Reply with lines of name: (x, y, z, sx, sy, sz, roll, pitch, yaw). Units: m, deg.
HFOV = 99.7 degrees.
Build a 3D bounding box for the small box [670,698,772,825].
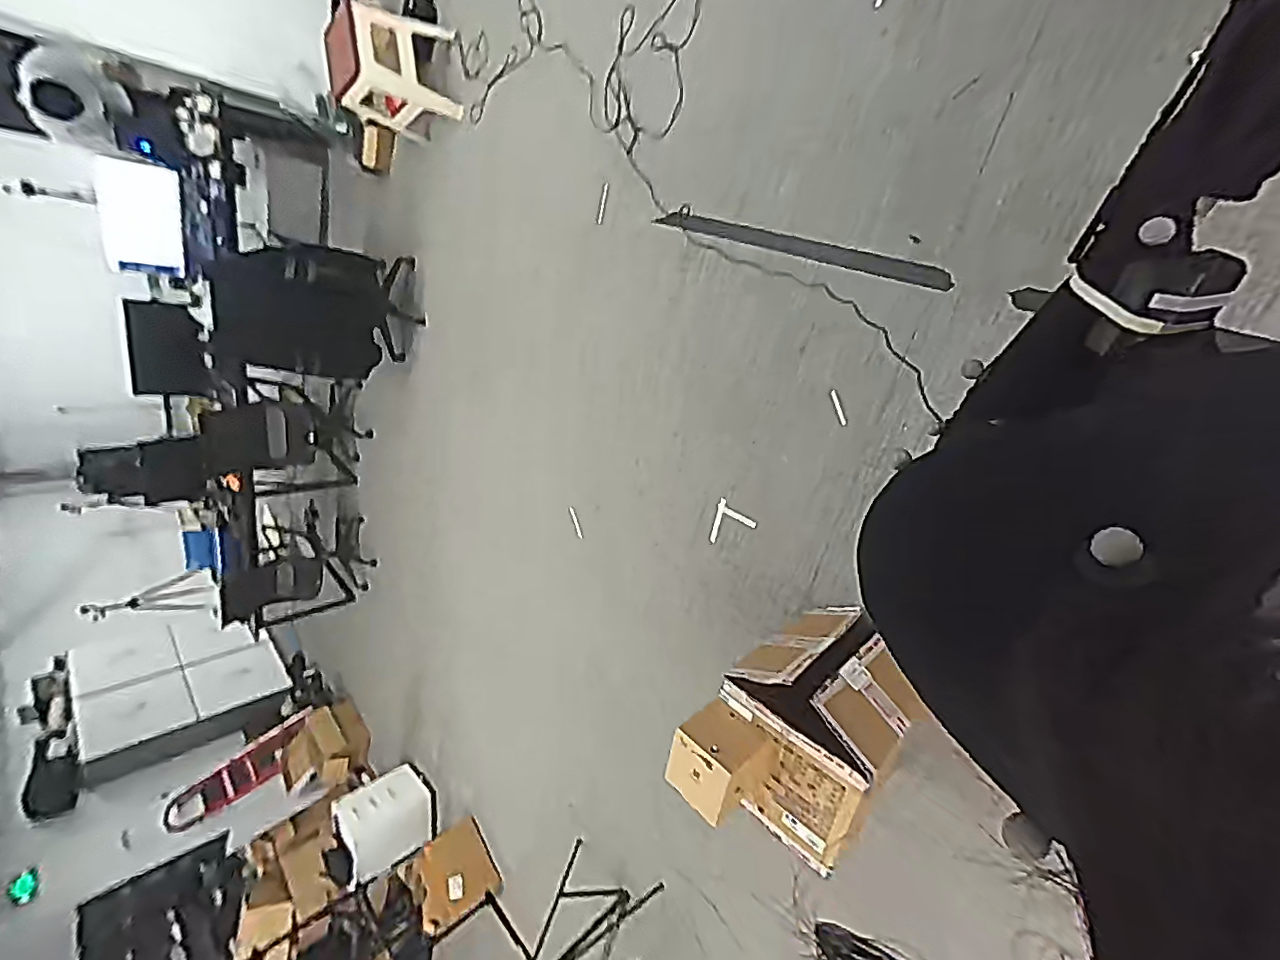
small box: (0.199, 0.676, 1.316, 0.168, 0.176, 0.179, 28, 119, 39)
